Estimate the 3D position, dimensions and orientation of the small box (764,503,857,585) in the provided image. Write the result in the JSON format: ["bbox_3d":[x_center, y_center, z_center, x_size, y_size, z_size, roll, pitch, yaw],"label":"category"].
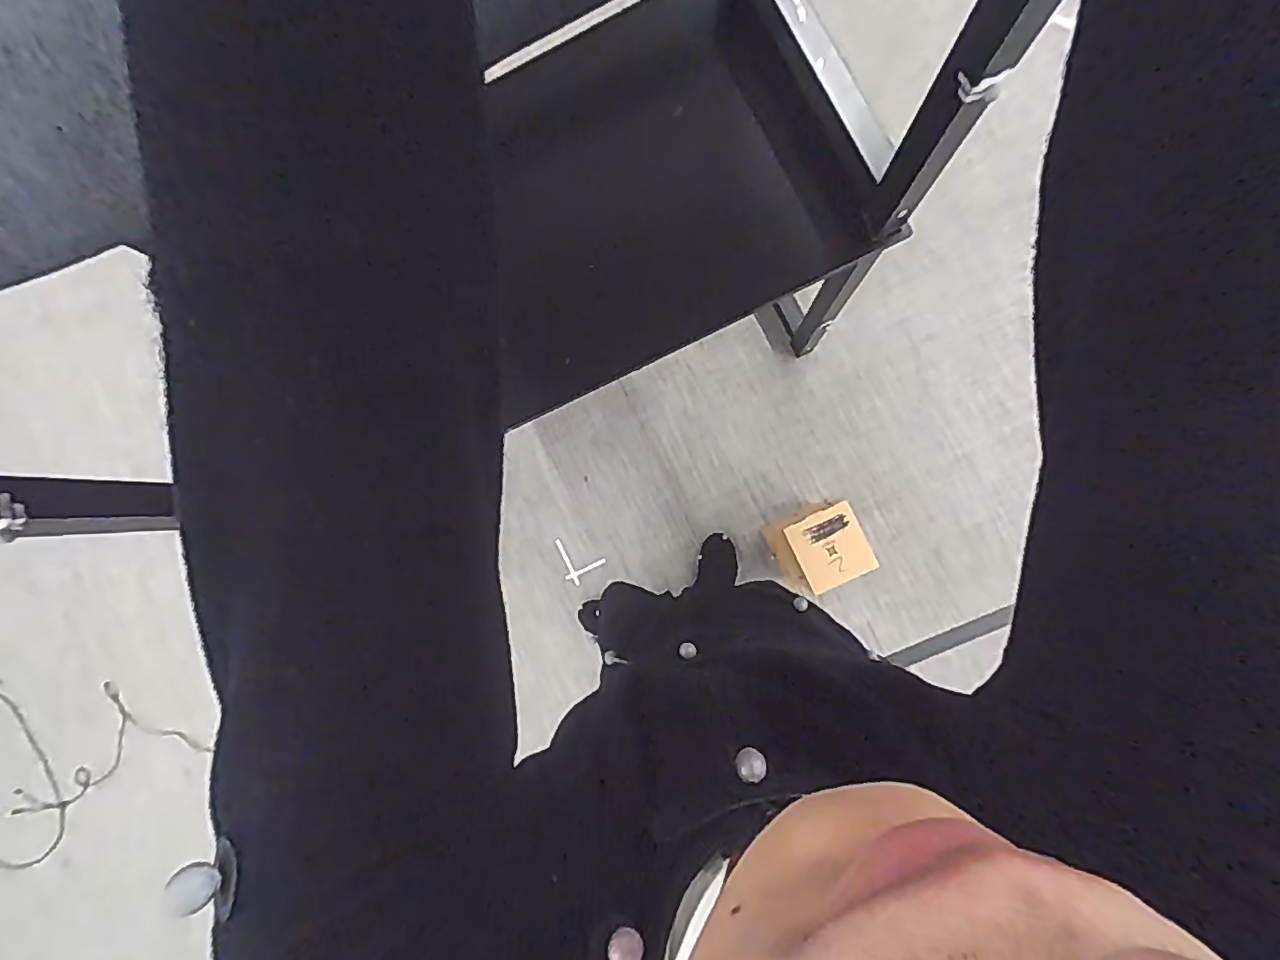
[{"bbox_3d":[0.465,0.171,1.504,0.179,0.176,0.168,-27,84,5],"label":"small box"}]
